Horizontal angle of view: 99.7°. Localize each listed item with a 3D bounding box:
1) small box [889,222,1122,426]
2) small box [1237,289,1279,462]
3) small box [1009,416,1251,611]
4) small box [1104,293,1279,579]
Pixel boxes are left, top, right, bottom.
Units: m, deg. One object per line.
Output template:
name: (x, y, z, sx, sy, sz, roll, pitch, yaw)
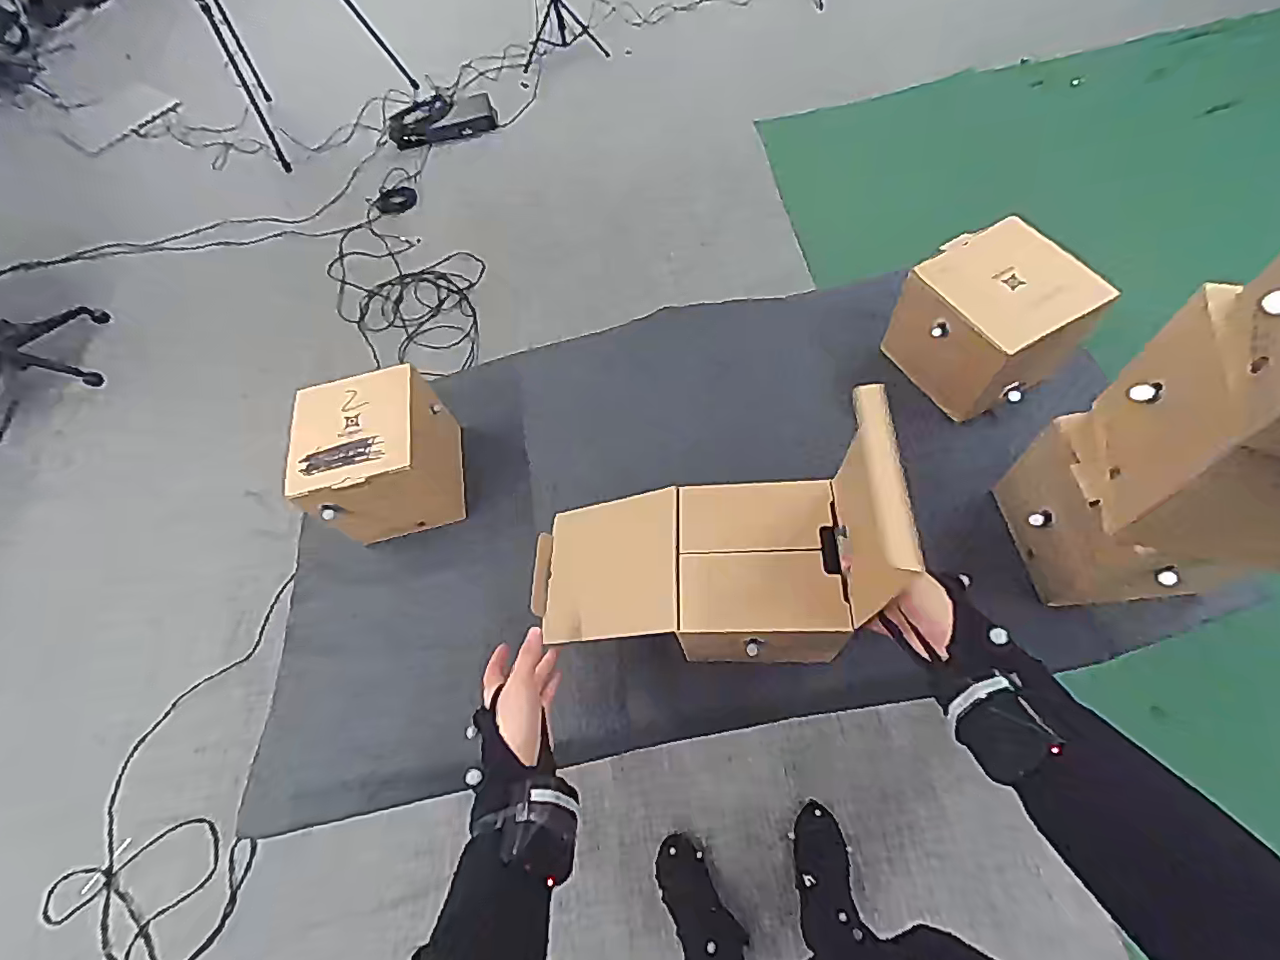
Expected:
small box: (0.479, -0.207, 0.748, 0.168, 0.176, 0.179, -28, 64, -4)
small box: (0.514, -0.091, 0.304, 0.179, 0.176, 0.168, 21, 65, 20)
small box: (0.552, 0.039, 0.605, 0.179, 0.176, 0.168, -7, 59, 6)
small box: (0.535, -0.029, 0.457, 0.179, 0.176, 0.168, 12, 62, 15)
